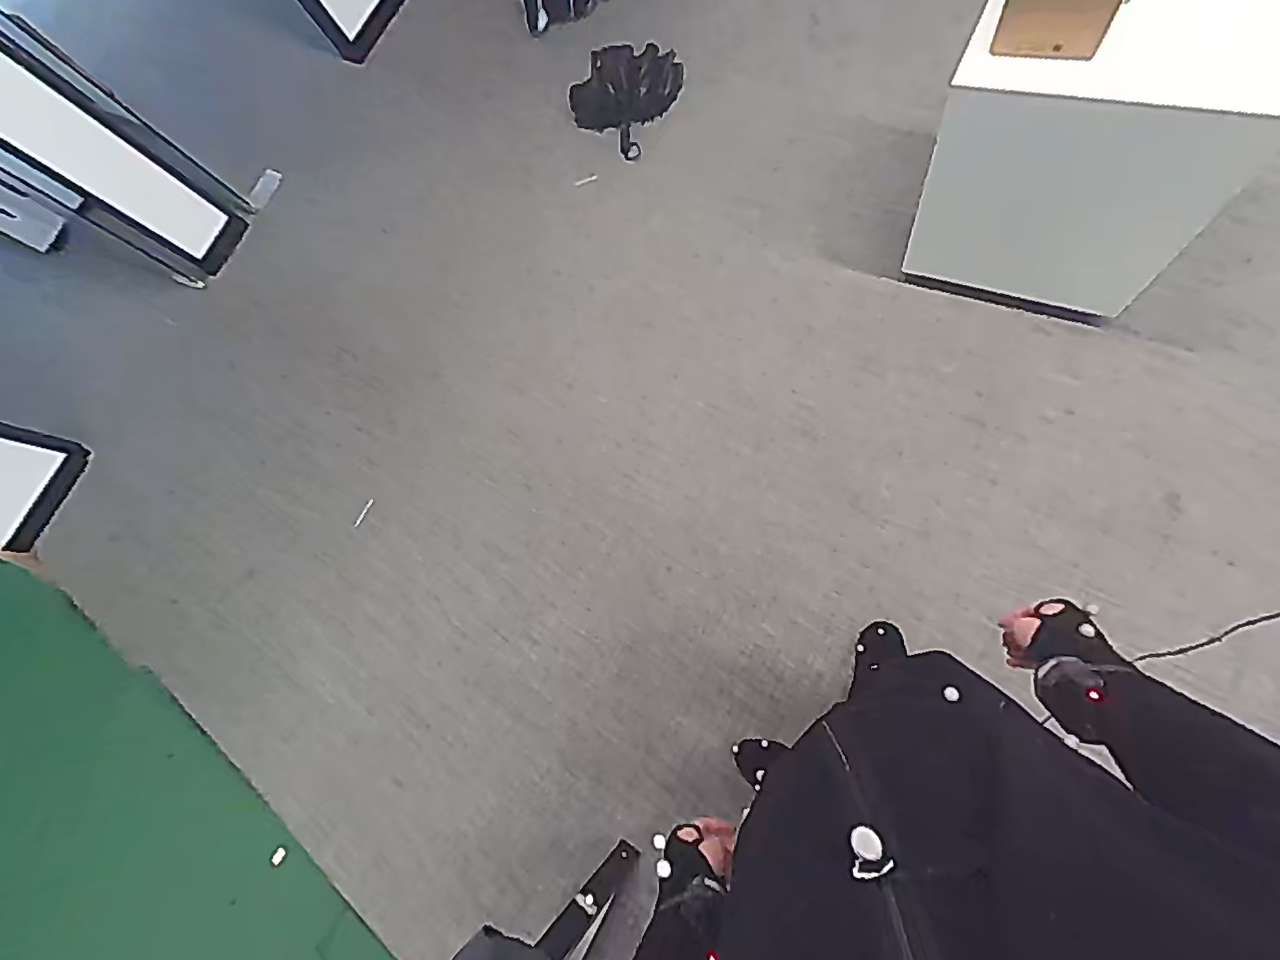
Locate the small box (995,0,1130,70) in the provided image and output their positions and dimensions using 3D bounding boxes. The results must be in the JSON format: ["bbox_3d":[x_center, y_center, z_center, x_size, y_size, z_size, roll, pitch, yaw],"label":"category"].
[{"bbox_3d":[0.718,-0.826,0.888,0.168,0.176,0.179,21,81,22],"label":"small box"}]
